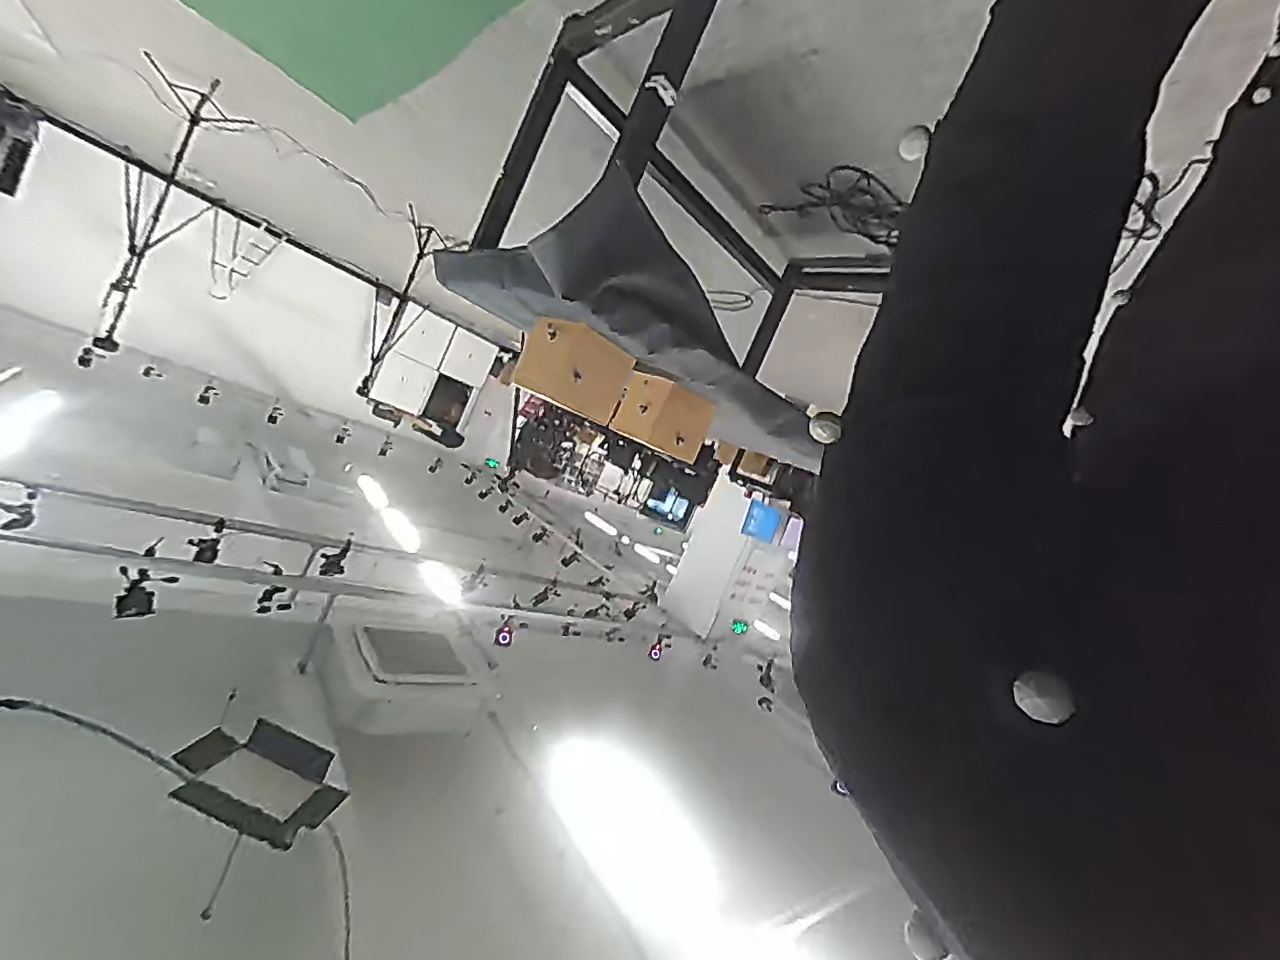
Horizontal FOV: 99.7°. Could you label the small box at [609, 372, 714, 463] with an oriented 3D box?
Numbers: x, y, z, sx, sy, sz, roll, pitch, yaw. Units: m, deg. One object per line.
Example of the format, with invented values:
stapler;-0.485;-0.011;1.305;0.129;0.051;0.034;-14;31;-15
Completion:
small box;0.057;-0.164;1.385;0.179;0.176;0.168;21;-177;-40
